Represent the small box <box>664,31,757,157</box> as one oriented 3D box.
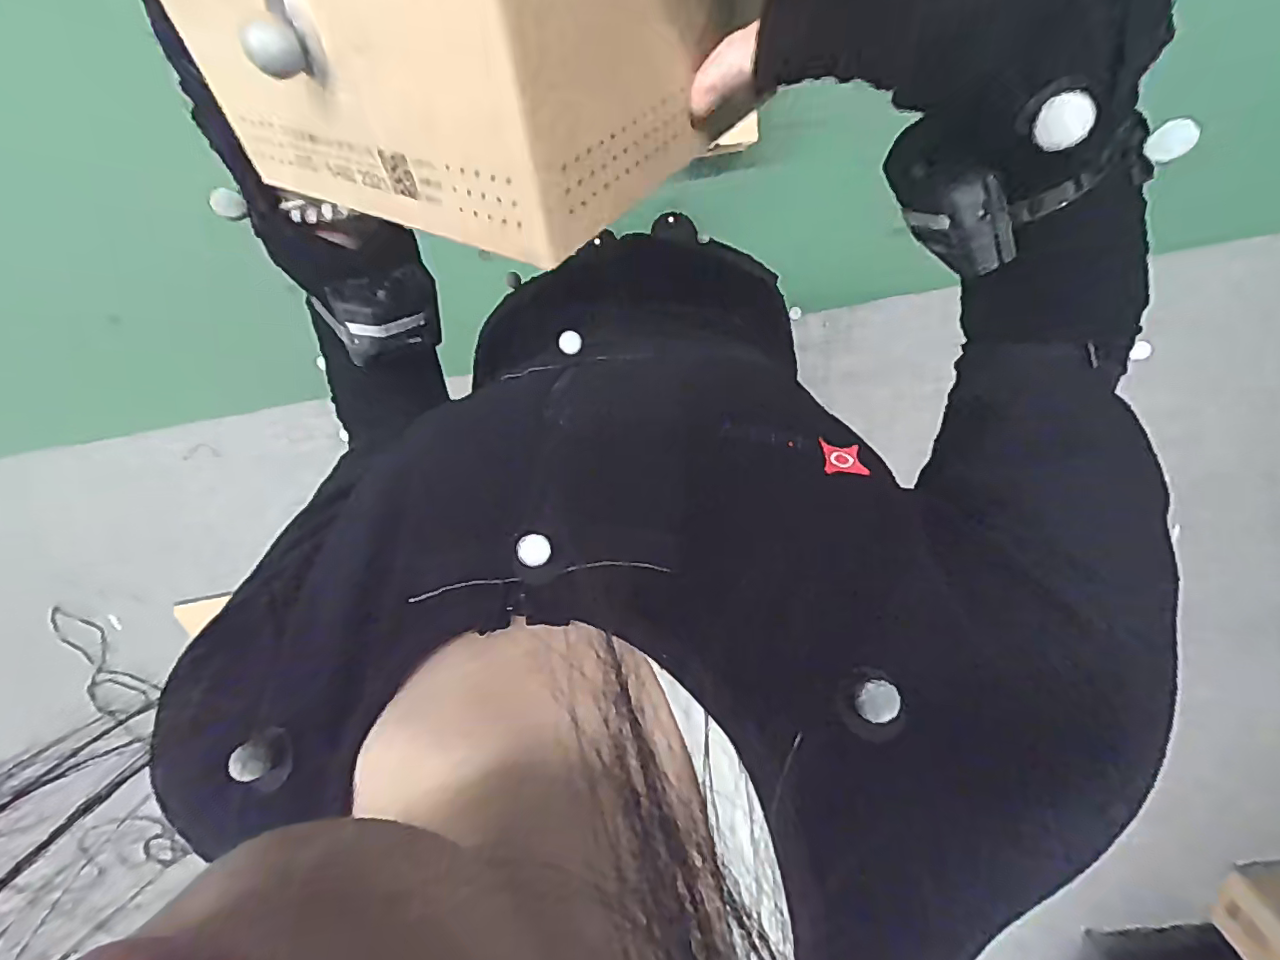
[{"bbox_3d":[0.141,-0.776,1.107,0.168,0.176,0.179,-8,116,4],"label":"small box"}]
